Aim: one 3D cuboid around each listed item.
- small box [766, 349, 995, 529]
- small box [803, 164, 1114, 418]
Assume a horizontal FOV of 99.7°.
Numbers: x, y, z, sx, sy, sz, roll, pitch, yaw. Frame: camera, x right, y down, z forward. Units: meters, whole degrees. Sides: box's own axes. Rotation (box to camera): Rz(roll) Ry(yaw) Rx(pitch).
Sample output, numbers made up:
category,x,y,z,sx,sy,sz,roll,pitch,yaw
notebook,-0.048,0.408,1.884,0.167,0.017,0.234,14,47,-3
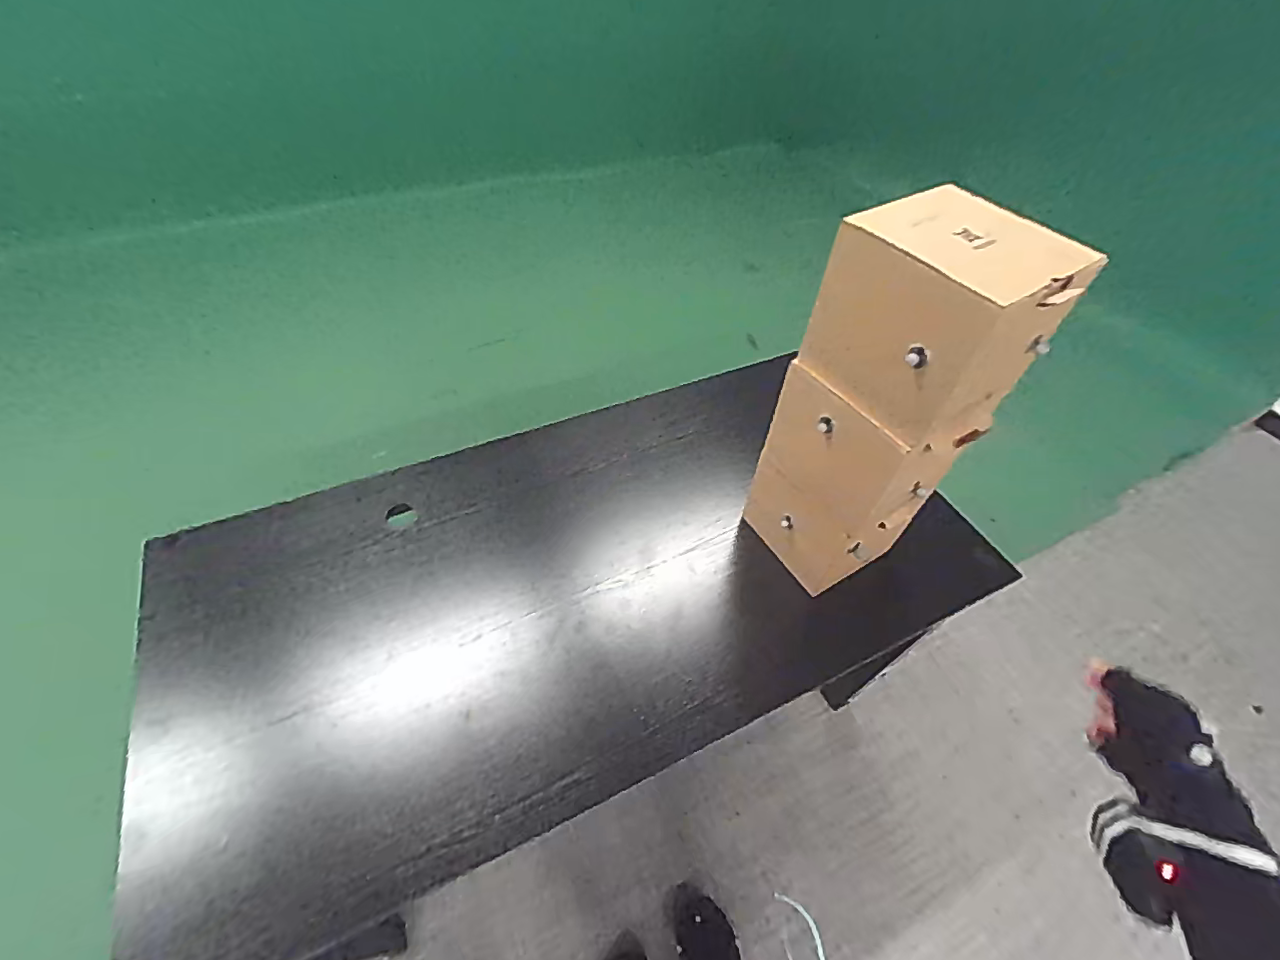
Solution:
category,x,y,z,sx,sy,sz,roll,pitch,yaw
small box,0.286,-0.071,0.689,0.168,0.176,0.179,-27,58,-21
small box,0.300,-0.185,0.550,0.168,0.176,0.179,-26,57,-22
